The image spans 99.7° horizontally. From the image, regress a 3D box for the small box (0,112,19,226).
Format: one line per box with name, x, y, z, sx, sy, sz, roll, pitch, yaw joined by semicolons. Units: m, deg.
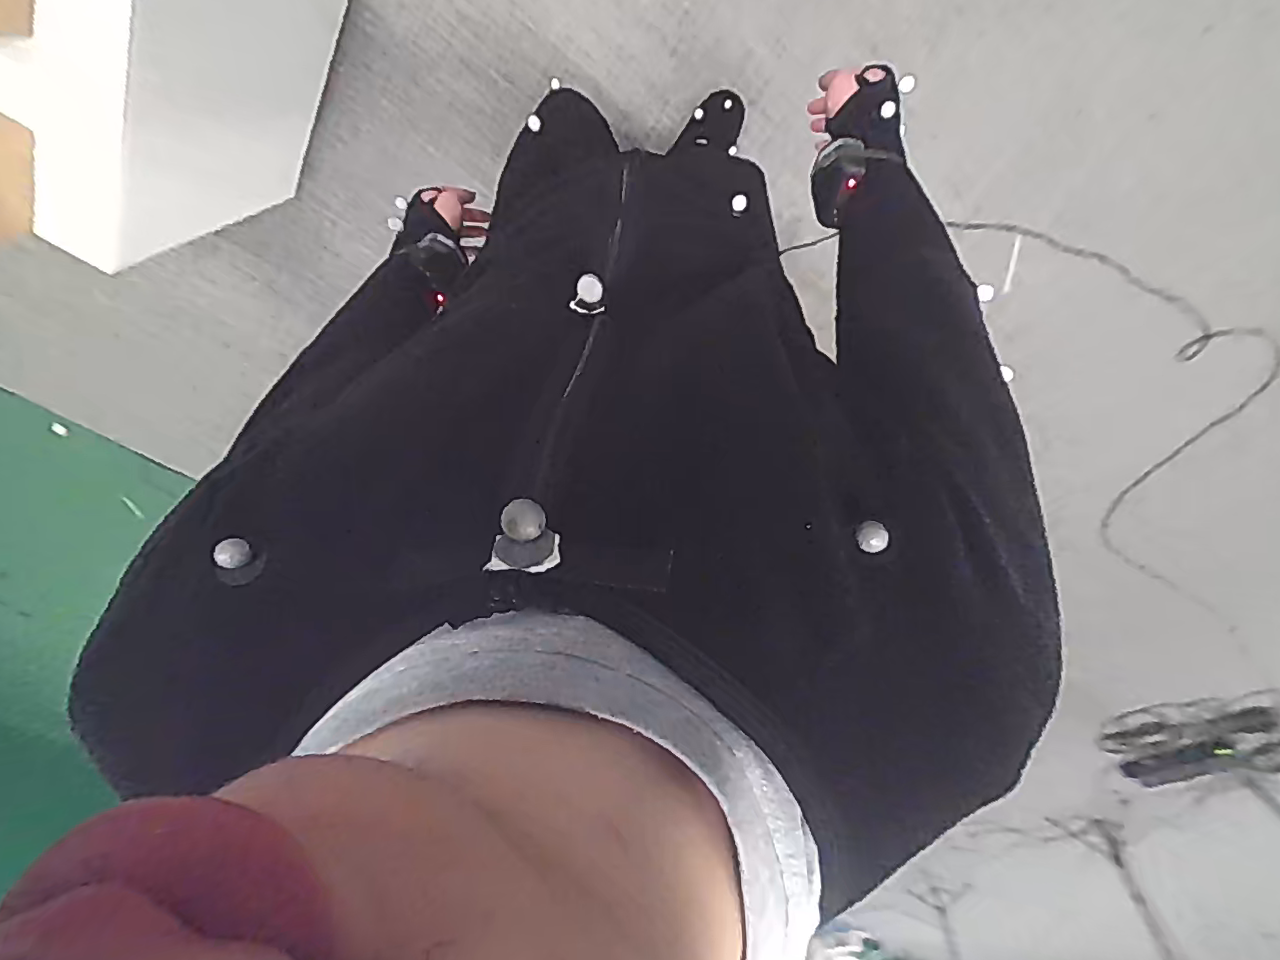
small box;-0.983;-0.435;0.706;0.168;0.176;0.179;31;123;-21
